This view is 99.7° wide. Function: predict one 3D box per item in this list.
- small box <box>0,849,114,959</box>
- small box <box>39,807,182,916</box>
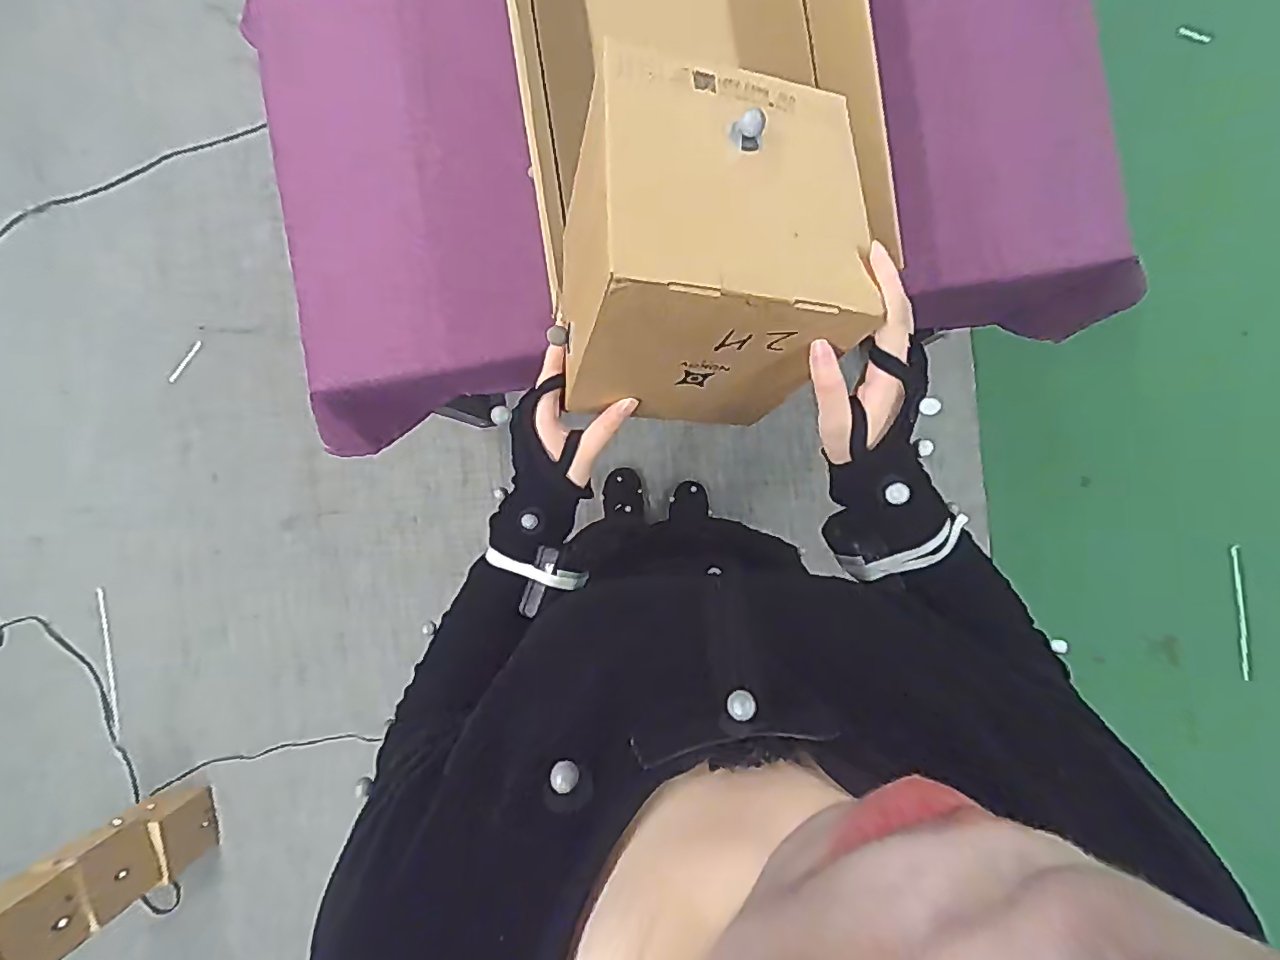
[{"bbox_3d":[-1.323,0.953,1.178,0.179,0.176,0.168,-16,90,2],"label":"small box"},{"bbox_3d":[-1.301,0.948,1.340,0.168,0.176,0.179,-19,90,3],"label":"small box"}]
